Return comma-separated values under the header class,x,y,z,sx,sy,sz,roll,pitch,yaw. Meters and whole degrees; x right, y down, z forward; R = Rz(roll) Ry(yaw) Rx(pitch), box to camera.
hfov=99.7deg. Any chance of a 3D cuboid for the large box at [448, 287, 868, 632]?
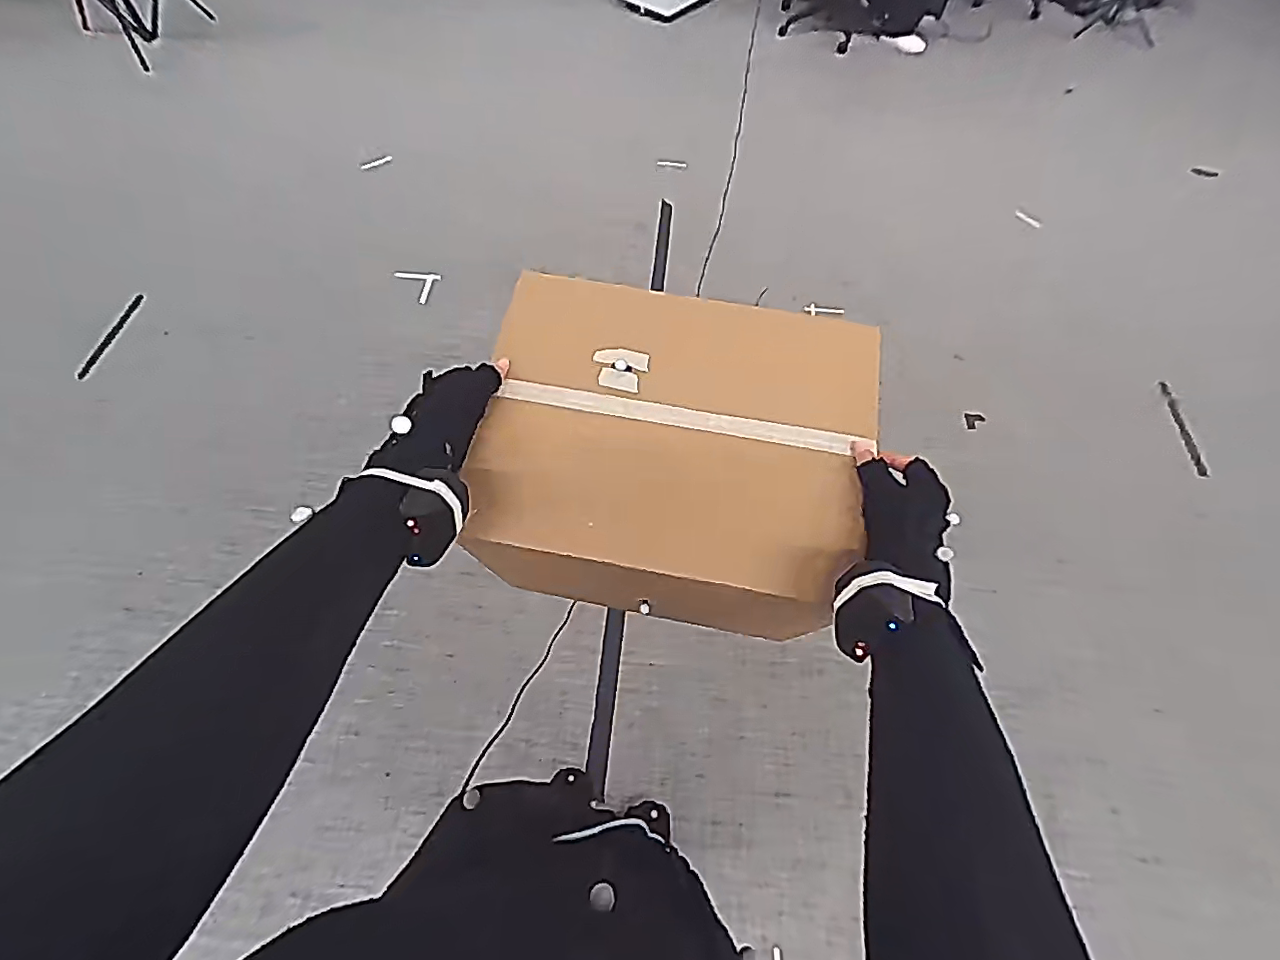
class,x,y,z,sx,sy,sz,roll,pitch,yaw
large box,0.037,-0.003,0.701,0.408,0.320,0.320,10,68,5
